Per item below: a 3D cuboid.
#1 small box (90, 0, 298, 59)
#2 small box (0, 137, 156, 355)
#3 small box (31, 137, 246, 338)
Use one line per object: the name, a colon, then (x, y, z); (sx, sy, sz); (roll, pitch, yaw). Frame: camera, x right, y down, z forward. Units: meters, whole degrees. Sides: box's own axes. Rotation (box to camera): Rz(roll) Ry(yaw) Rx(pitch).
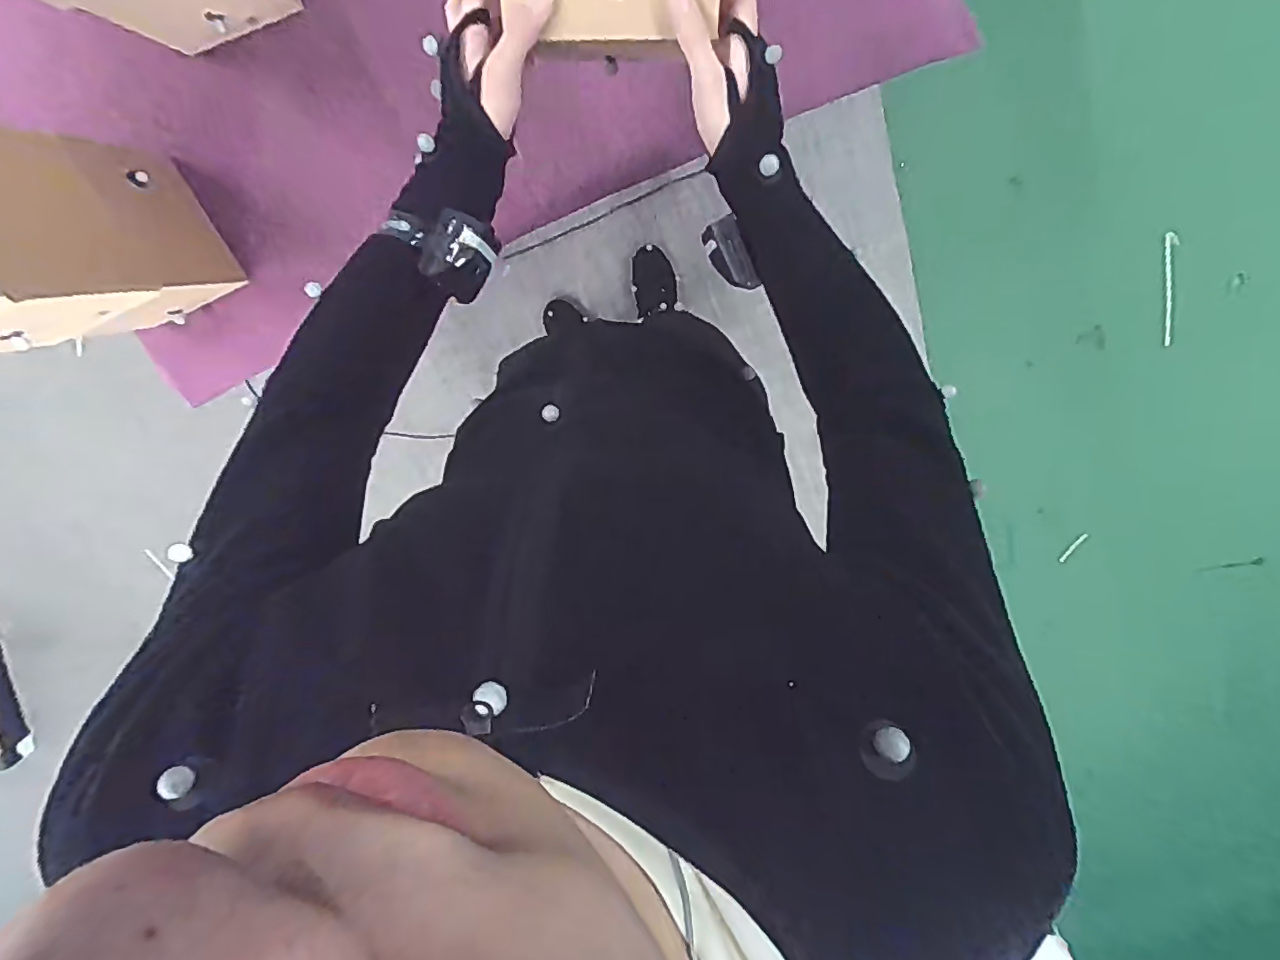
small box: (-0.515, -0.594, 0.567); (0.168, 0.176, 0.179); (-16, 112, 6)
small box: (-0.663, -0.230, 0.543); (0.168, 0.176, 0.179); (-20, 110, 8)
small box: (-0.671, -0.295, 0.691); (0.168, 0.176, 0.179); (-21, 111, 8)
